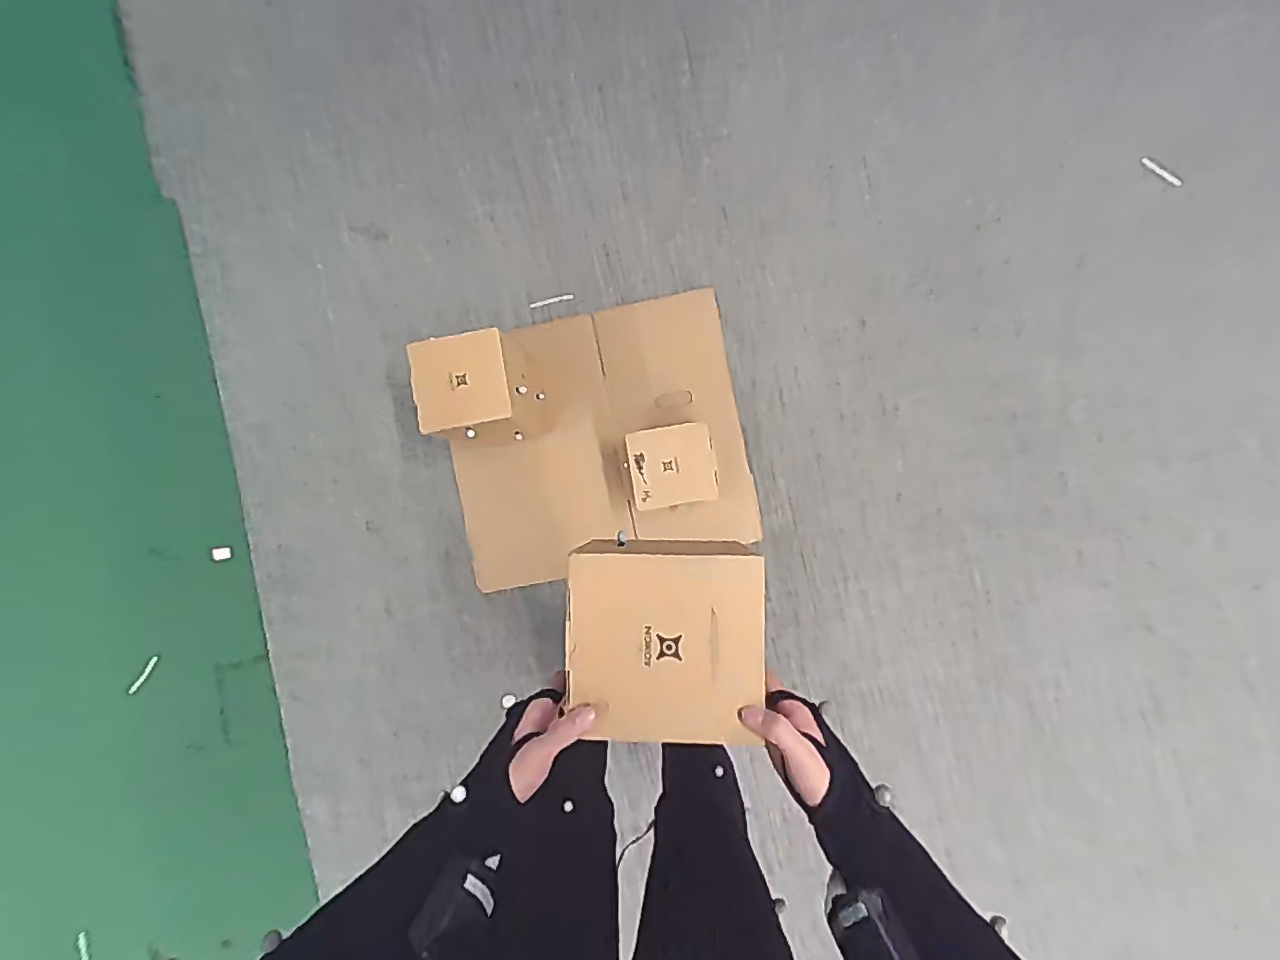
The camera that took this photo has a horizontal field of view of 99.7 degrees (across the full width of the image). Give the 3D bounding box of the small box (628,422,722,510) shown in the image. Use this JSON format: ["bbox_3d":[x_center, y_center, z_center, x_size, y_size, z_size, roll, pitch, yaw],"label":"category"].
[{"bbox_3d":[0.075,-0.030,1.186,0.179,0.176,0.168,-8,89,4],"label":"small box"}]

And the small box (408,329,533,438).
[{"bbox_3d":[-0.315,-0.179,1.048,0.179,0.176,0.168,-10,90,4],"label":"small box"}]

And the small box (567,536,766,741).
[{"bbox_3d":[0.028,0.147,0.557,0.179,0.176,0.168,0,88,3],"label":"small box"}]
